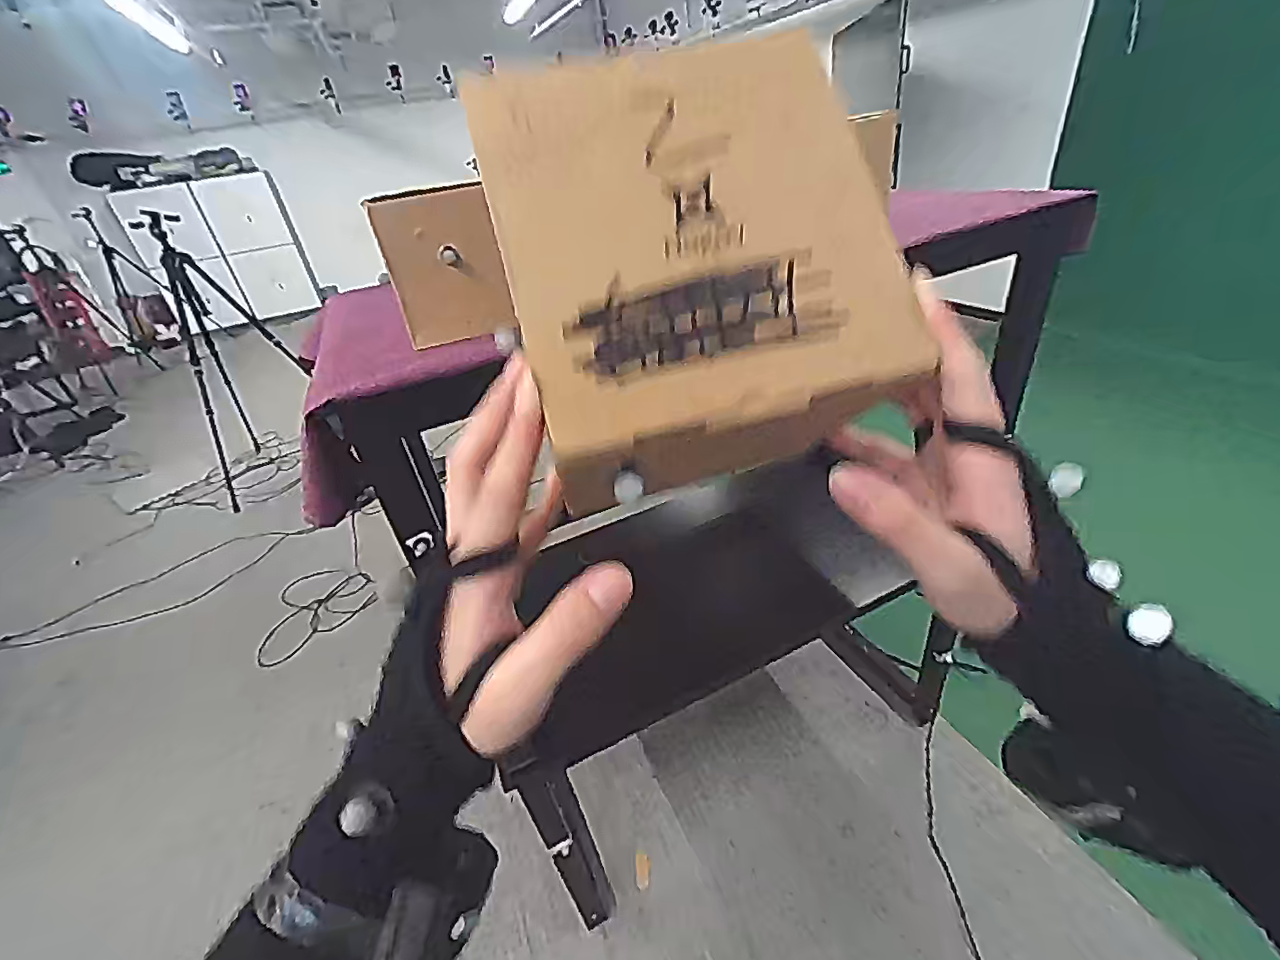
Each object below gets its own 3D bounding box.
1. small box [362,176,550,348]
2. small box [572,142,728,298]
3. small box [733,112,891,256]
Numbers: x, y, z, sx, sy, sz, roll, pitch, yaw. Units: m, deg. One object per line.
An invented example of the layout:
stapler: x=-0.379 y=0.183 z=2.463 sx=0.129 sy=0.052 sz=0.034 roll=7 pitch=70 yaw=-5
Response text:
small box: x=-0.234 y=-0.285 z=0.703 sx=0.179 sy=0.176 sz=0.168 roll=-19 pitch=34 yaw=-15
small box: x=0.017 y=-0.379 z=0.788 sx=0.179 sy=0.176 sz=0.168 roll=-18 pitch=32 yaw=-13
small box: x=0.268 y=-0.465 z=0.861 sx=0.179 sy=0.176 sz=0.168 roll=-20 pitch=33 yaw=-16
